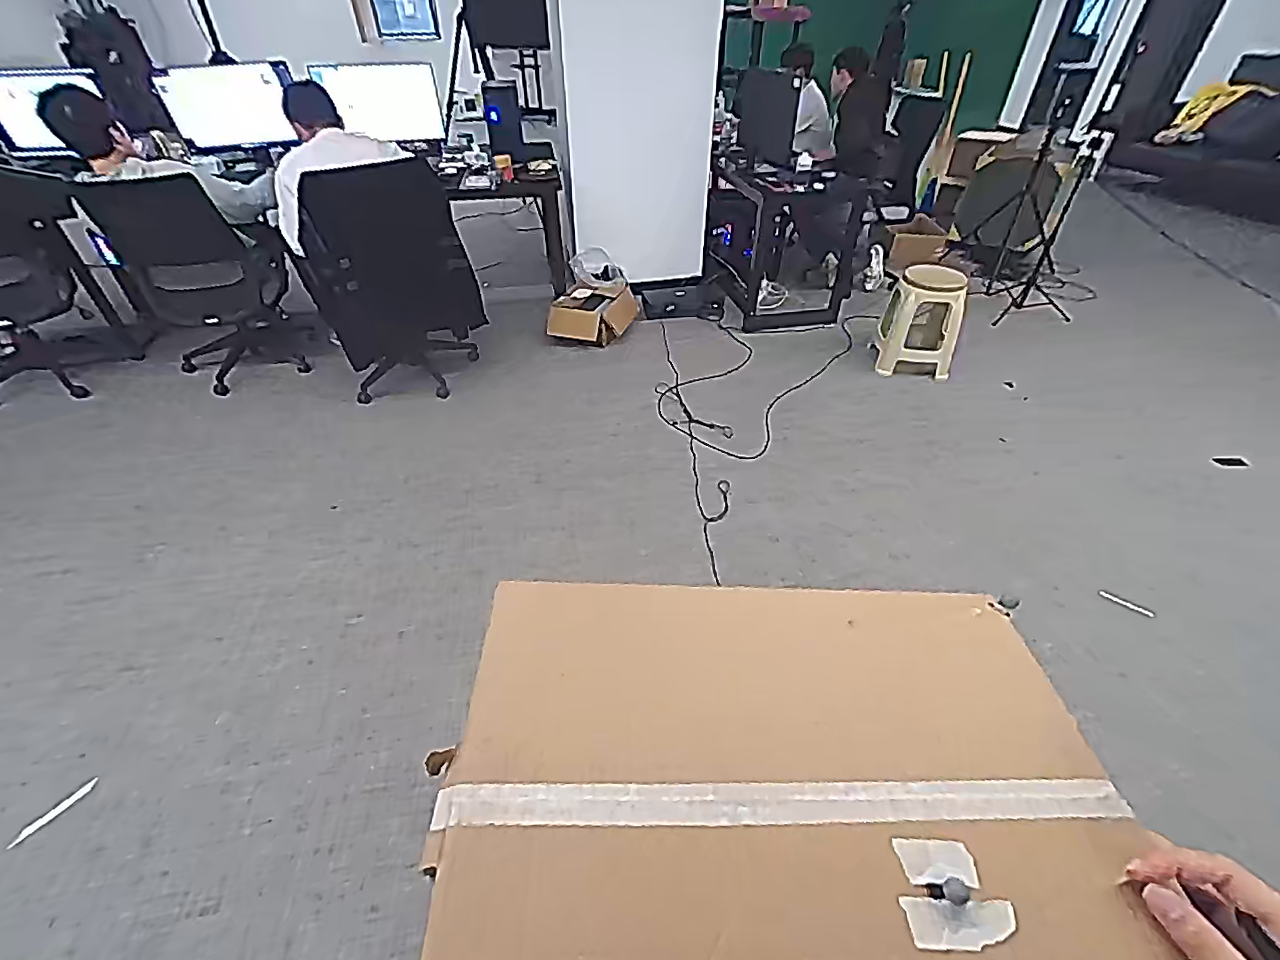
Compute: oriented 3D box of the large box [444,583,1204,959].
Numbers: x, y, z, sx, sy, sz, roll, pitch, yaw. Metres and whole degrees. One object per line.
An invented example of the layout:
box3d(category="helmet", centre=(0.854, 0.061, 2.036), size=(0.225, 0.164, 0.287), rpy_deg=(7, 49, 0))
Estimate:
box3d(category="large box", centre=(0.082, 0.302, 0.430), size=(0.408, 0.320, 0.320), rpy_deg=(3, 43, -5))
